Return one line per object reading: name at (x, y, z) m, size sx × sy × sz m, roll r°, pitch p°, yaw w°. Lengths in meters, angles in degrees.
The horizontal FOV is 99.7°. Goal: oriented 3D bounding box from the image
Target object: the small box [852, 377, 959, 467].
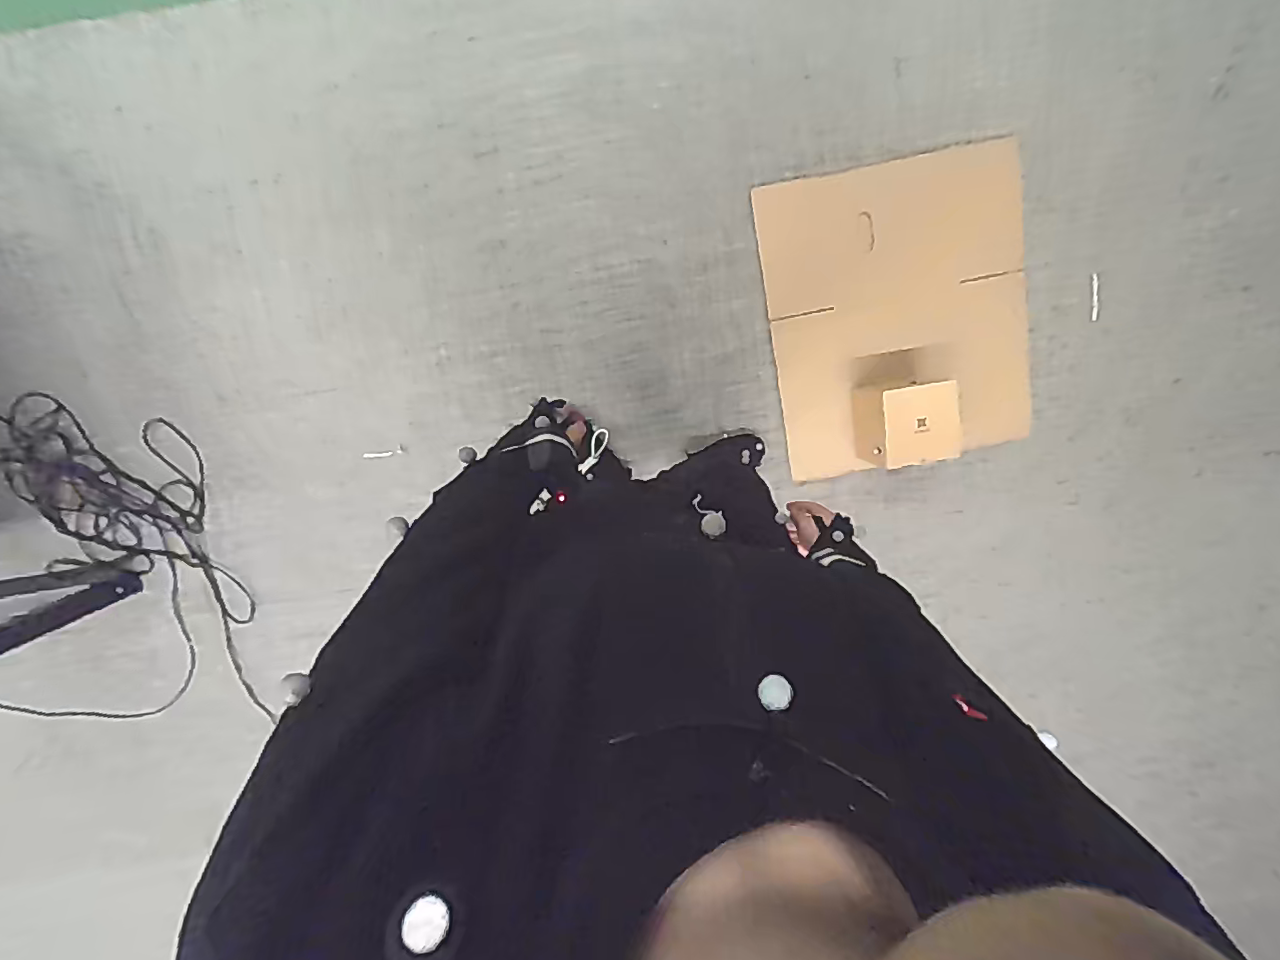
small box at (0.602, -0.138, 1.242) m, size 0.168 × 0.176 × 0.179 m, roll -9°, pitch 102°, yaw 0°
